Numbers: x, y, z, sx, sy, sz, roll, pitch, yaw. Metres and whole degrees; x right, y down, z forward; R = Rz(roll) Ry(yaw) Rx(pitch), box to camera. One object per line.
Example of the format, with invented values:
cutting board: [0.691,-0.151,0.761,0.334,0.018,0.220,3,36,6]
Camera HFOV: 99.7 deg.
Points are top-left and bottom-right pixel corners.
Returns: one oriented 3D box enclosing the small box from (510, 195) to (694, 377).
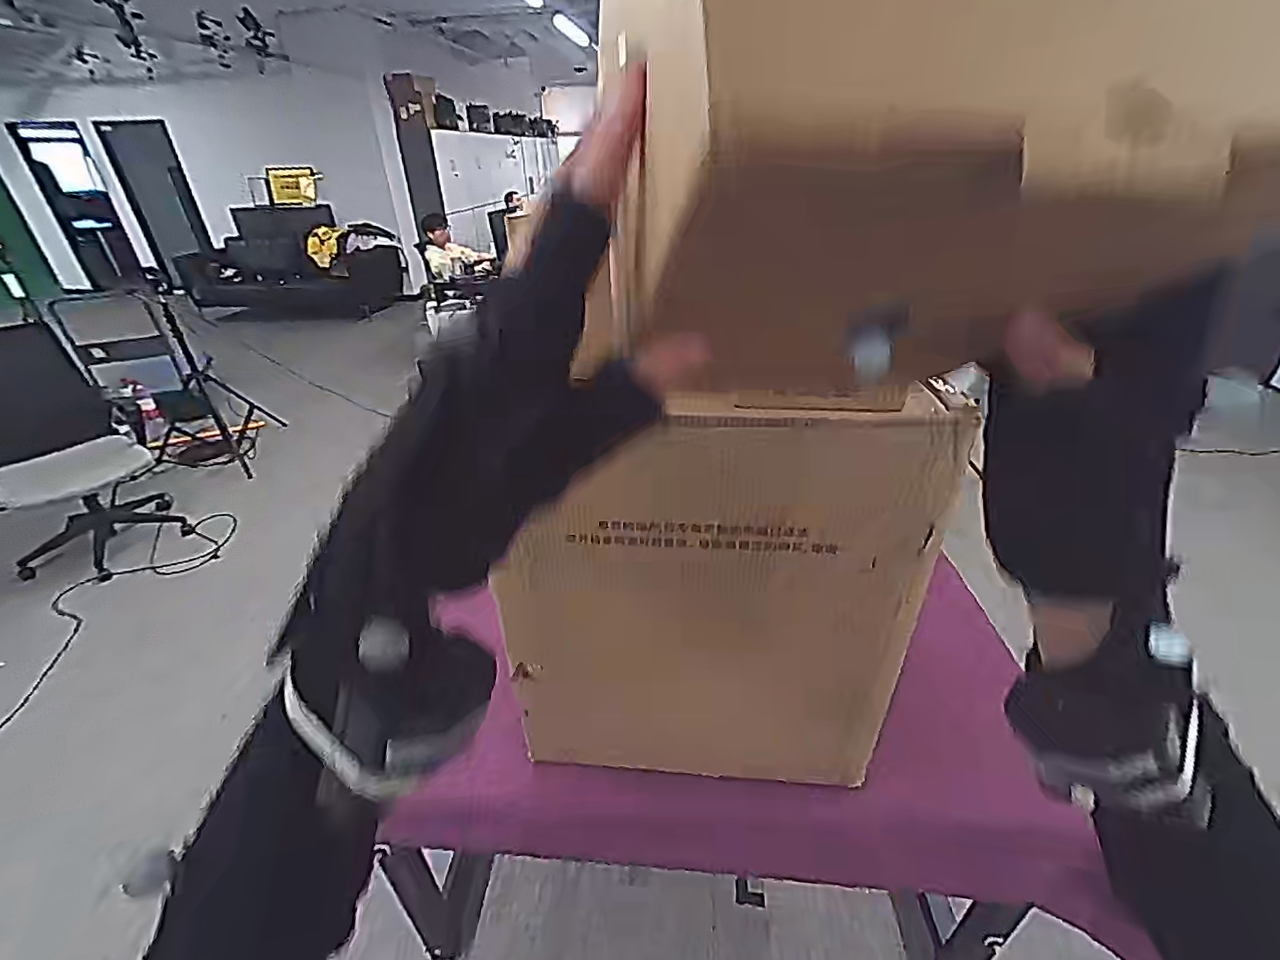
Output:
small box: [-0.027,-0.223,0.617,0.179,0.176,0.168,3,30,8]

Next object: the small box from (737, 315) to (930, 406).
small box: [0.187,-0.188,0.551,0.168,0.176,0.179,3,32,9]

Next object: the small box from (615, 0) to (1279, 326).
small box: [0.081,-0.164,0.188,0.168,0.179,0.176,-2,-6,-8]
